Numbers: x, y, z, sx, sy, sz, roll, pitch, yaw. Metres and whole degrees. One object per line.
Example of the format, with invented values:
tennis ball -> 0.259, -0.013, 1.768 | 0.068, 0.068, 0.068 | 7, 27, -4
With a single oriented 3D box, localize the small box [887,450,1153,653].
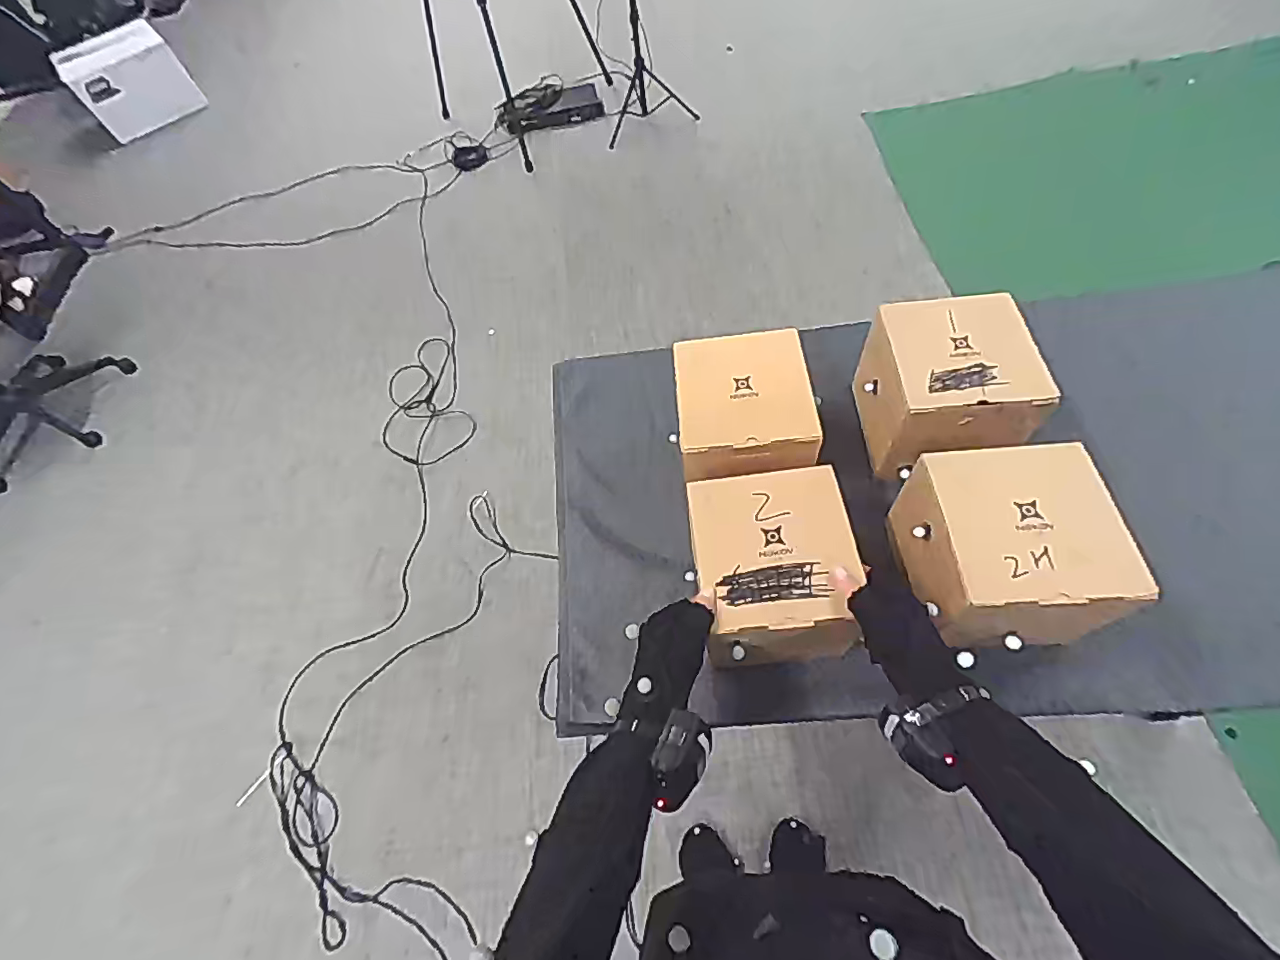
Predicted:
small box -> 0.400, 0.087, 0.615 | 0.168, 0.176, 0.179 | -4, 59, 6
